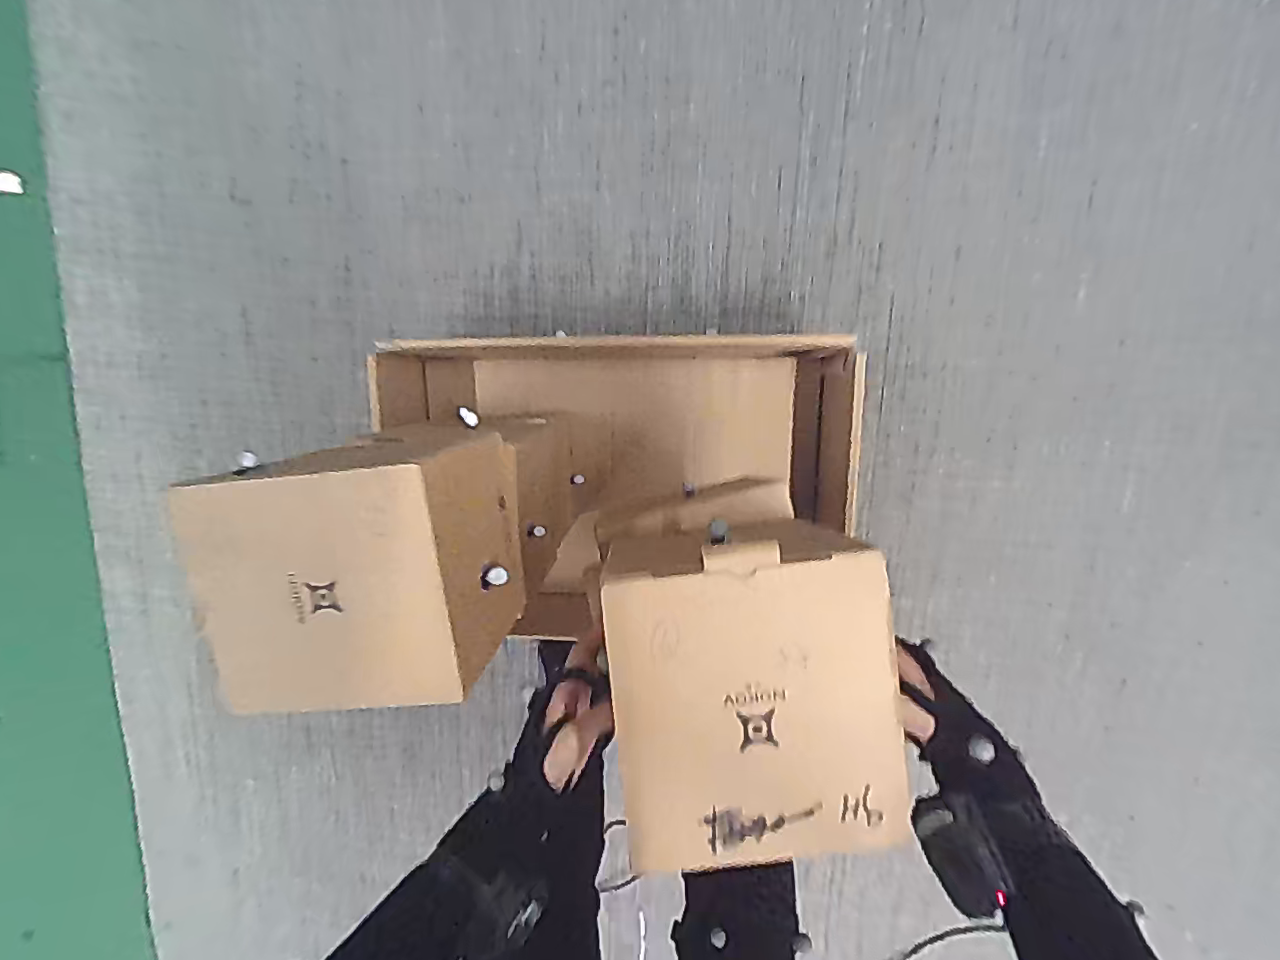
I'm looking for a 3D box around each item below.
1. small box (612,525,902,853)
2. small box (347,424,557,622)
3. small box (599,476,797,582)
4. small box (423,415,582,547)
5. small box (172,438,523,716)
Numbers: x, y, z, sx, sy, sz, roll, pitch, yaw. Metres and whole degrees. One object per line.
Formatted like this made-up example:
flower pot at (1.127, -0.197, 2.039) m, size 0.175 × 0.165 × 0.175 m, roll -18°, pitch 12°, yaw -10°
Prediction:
small box at (0.068, 0.128, 0.402) m, size 0.168 × 0.176 × 0.179 m, roll -5°, pitch 91°, yaw 0°
small box at (-0.189, 0.036, 0.594) m, size 0.168 × 0.176 × 0.179 m, roll 1°, pitch 101°, yaw 3°
small box at (0.065, 0.094, 0.564) m, size 0.179 × 0.176 × 0.168 m, roll -13°, pitch 92°, yaw 0°
small box at (-0.186, -0.001, 0.754) m, size 0.179 × 0.176 × 0.168 m, roll -3°, pitch 100°, yaw 4°
small box at (-0.203, 0.062, 0.435) m, size 0.179 × 0.176 × 0.168 m, roll -6°, pitch 101°, yaw 6°
